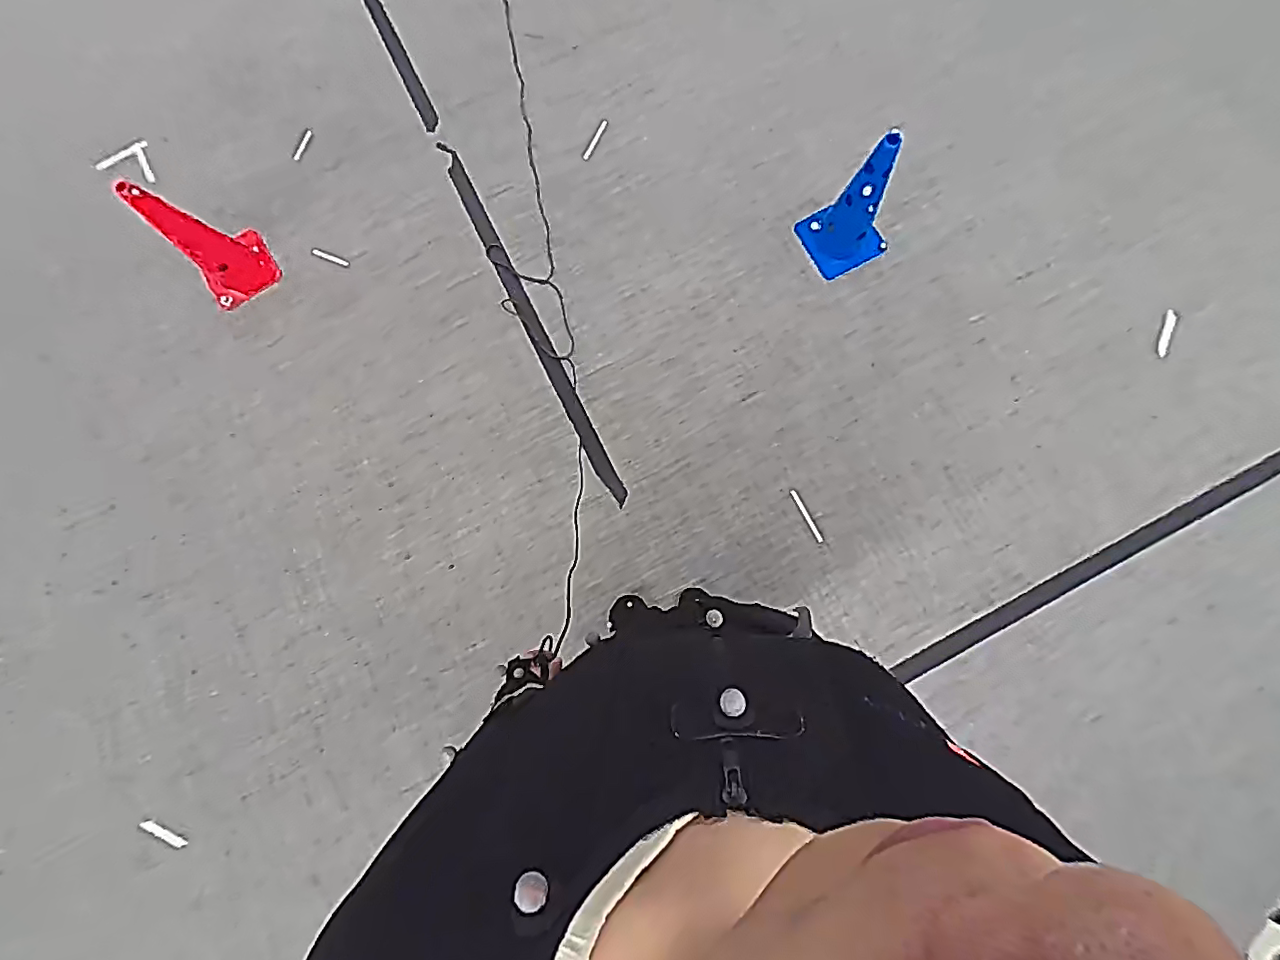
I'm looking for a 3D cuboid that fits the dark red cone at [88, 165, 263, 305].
[{"bbox_3d":[-1.207,-0.648,1.394,0.201,0.394,0.202,-35,81,-5],"label":"dark red cone"}]

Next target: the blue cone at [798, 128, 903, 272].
[{"bbox_3d":[0.551,-0.716,1.356,0.192,0.380,0.193,-27,80,-3],"label":"blue cone"}]
